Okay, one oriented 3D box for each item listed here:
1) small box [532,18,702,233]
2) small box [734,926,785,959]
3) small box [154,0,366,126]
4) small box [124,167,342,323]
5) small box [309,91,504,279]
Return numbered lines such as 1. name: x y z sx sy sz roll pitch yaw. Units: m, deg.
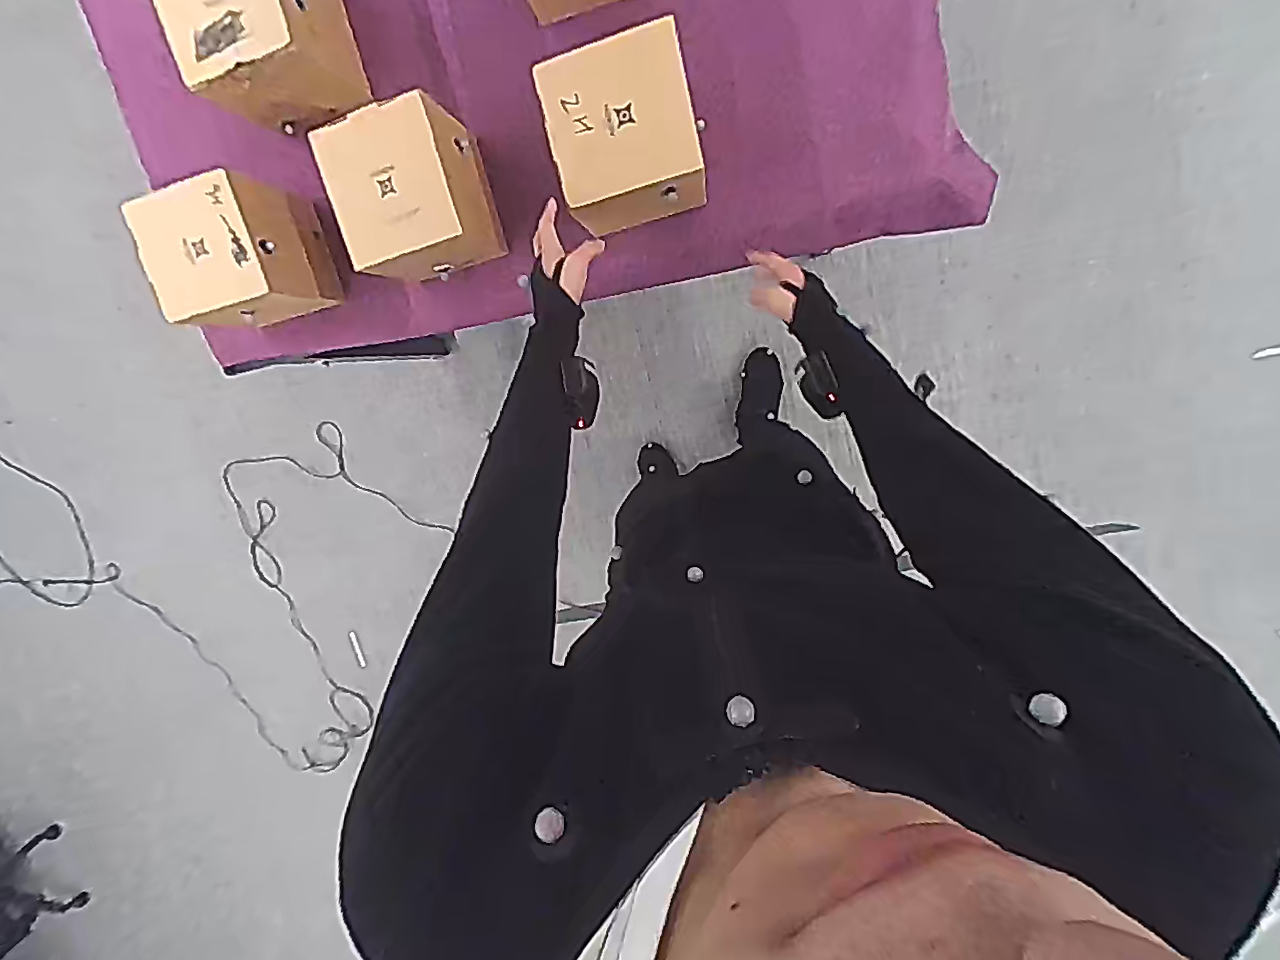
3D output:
1. small box: -0.018 -0.450 0.719 0.179 0.176 0.168 -12 101 11
2. small box: 0.425 1.710 1.886 0.168 0.176 0.179 -12 99 10
3. small box: -0.518 -0.624 0.747 0.168 0.176 0.179 -12 101 10
4. small box: -0.603 -0.341 0.824 0.179 0.176 0.168 -11 102 11
5. small box: -0.318 -0.403 0.774 0.168 0.176 0.179 -12 103 11
